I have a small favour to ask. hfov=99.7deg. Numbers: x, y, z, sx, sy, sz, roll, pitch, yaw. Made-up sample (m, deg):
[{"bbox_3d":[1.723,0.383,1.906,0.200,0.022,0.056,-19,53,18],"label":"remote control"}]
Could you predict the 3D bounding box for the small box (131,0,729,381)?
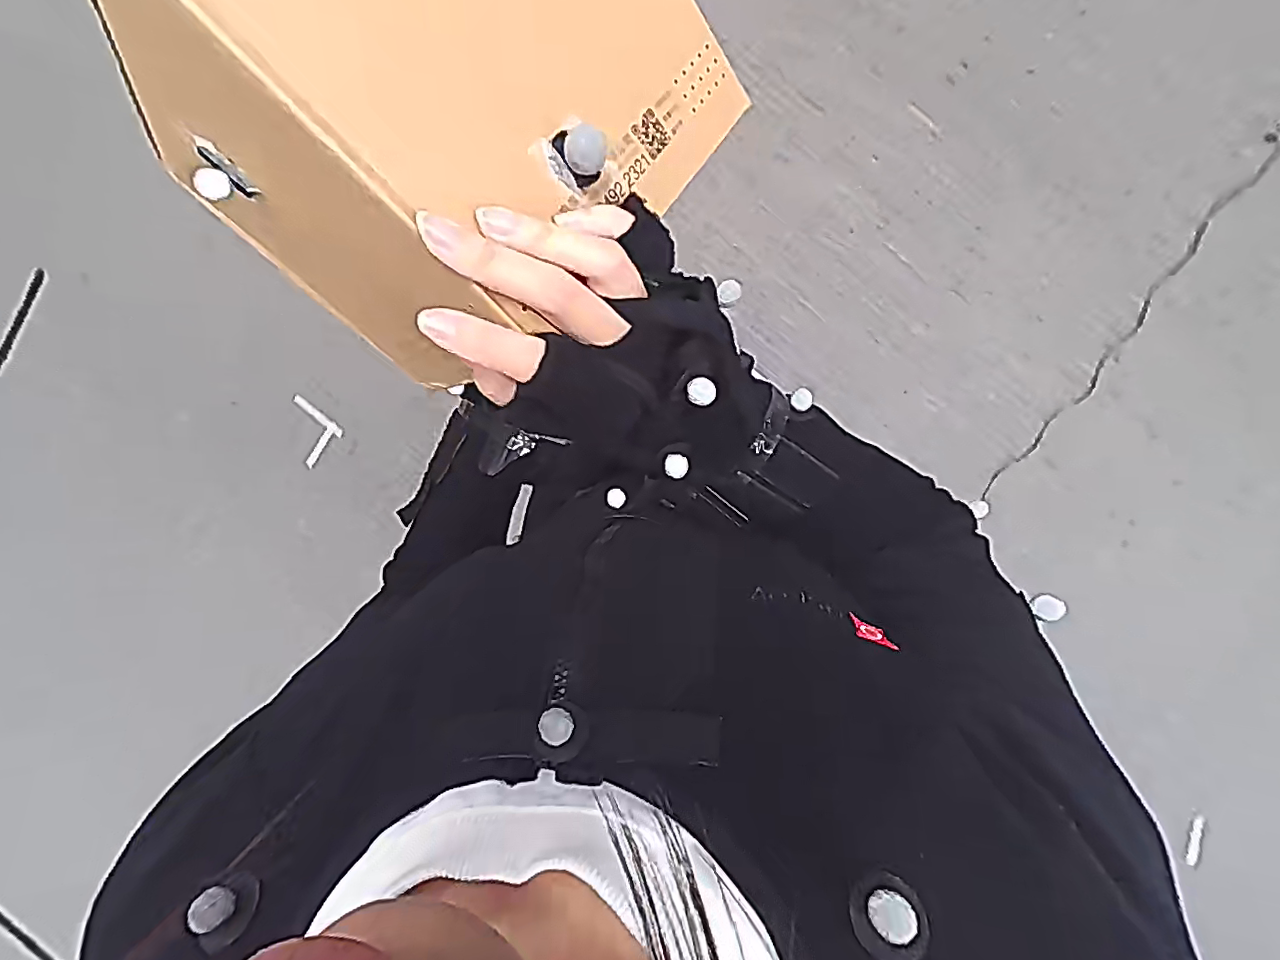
[{"bbox_3d":[-0.091,-0.167,0.277,0.176,0.179,0.168,42,71,-28],"label":"small box"}]
